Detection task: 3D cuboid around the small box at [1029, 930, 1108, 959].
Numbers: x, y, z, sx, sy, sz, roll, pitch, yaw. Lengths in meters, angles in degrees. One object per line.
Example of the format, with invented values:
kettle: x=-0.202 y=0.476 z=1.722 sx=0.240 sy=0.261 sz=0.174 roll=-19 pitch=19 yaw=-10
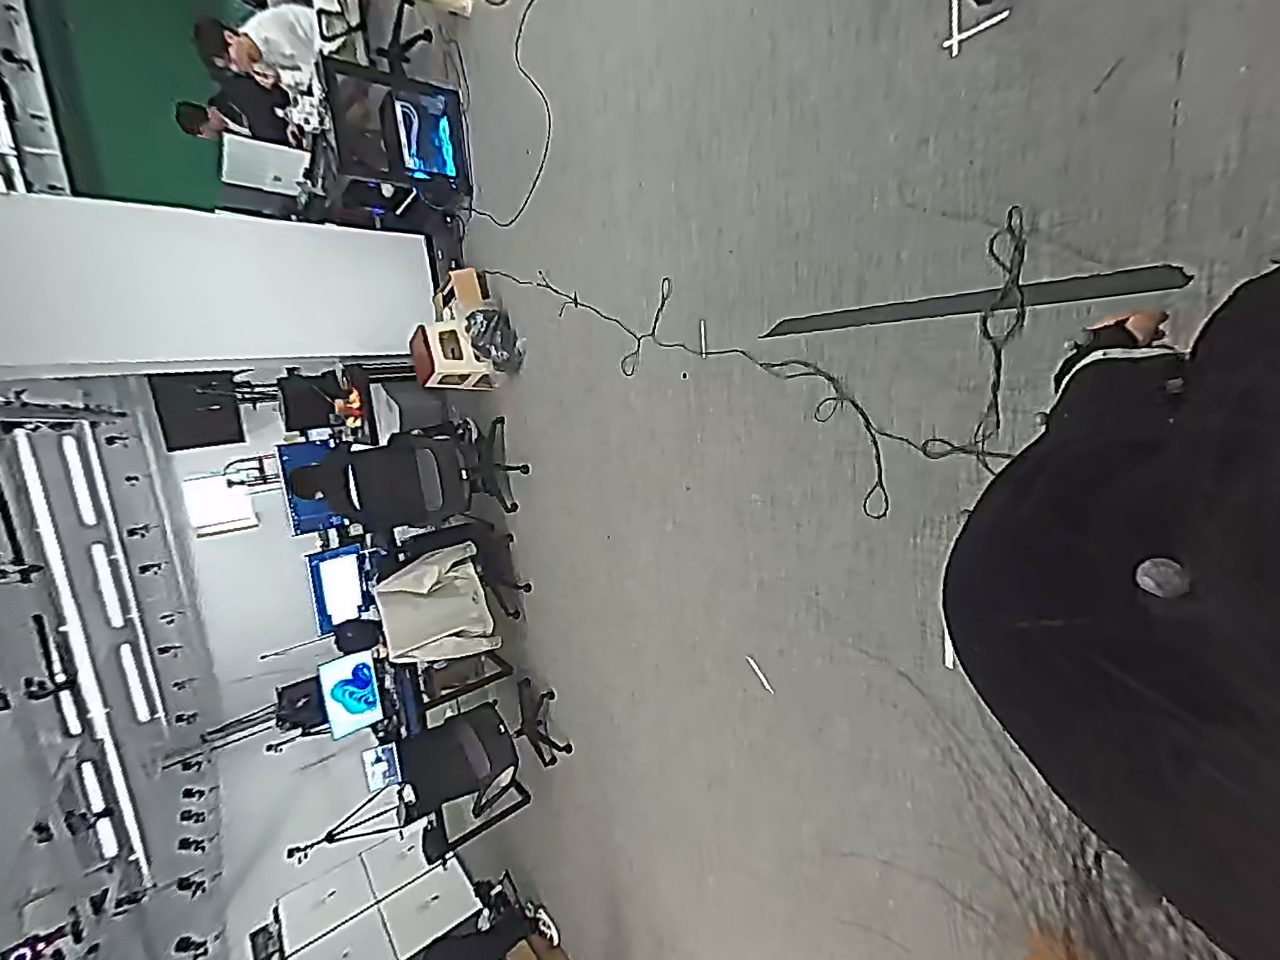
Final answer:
small box: x=1.103 y=1.301 z=1.368 sx=0.179 sy=0.176 sz=0.168 roll=9 pitch=107 yaw=50
